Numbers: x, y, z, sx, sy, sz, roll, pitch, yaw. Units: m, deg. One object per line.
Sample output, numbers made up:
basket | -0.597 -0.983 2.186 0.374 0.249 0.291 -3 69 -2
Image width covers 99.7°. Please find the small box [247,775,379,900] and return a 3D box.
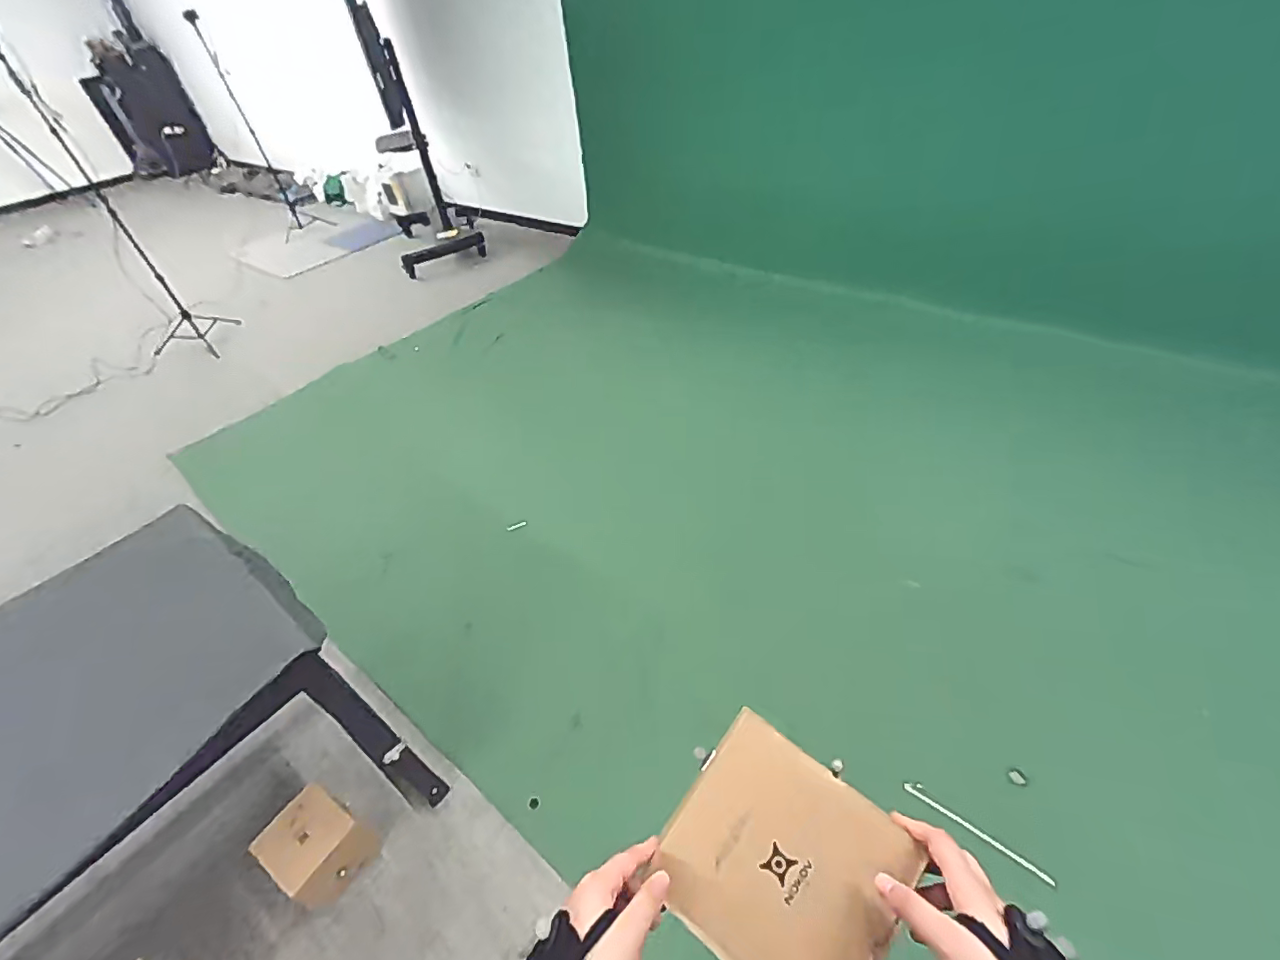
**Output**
small box | -0.749 0.836 1.258 0.179 0.176 0.168 22 50 26
